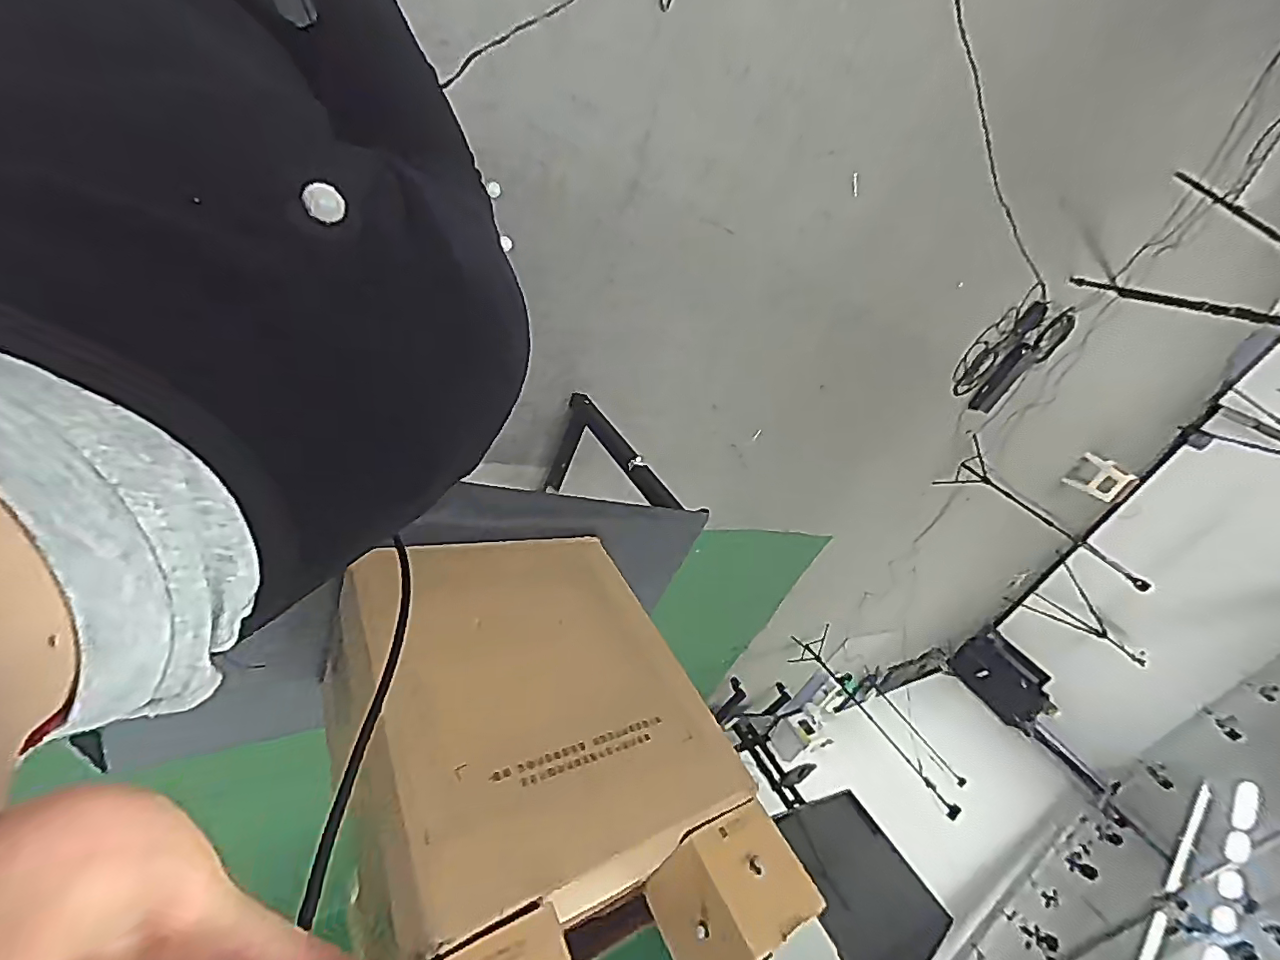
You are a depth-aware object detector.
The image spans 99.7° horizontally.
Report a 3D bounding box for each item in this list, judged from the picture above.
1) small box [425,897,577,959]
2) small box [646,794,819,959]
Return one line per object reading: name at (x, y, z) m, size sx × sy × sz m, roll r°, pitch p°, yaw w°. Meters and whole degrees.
small box at (-0.157, 0.610, 0.599) m, size 0.168 × 0.176 × 0.179 m, roll -5°, pitch 130°, yaw -33°
small box at (0.135, 0.629, 0.850) m, size 0.168 × 0.176 × 0.179 m, roll 1°, pitch 125°, yaw -40°
